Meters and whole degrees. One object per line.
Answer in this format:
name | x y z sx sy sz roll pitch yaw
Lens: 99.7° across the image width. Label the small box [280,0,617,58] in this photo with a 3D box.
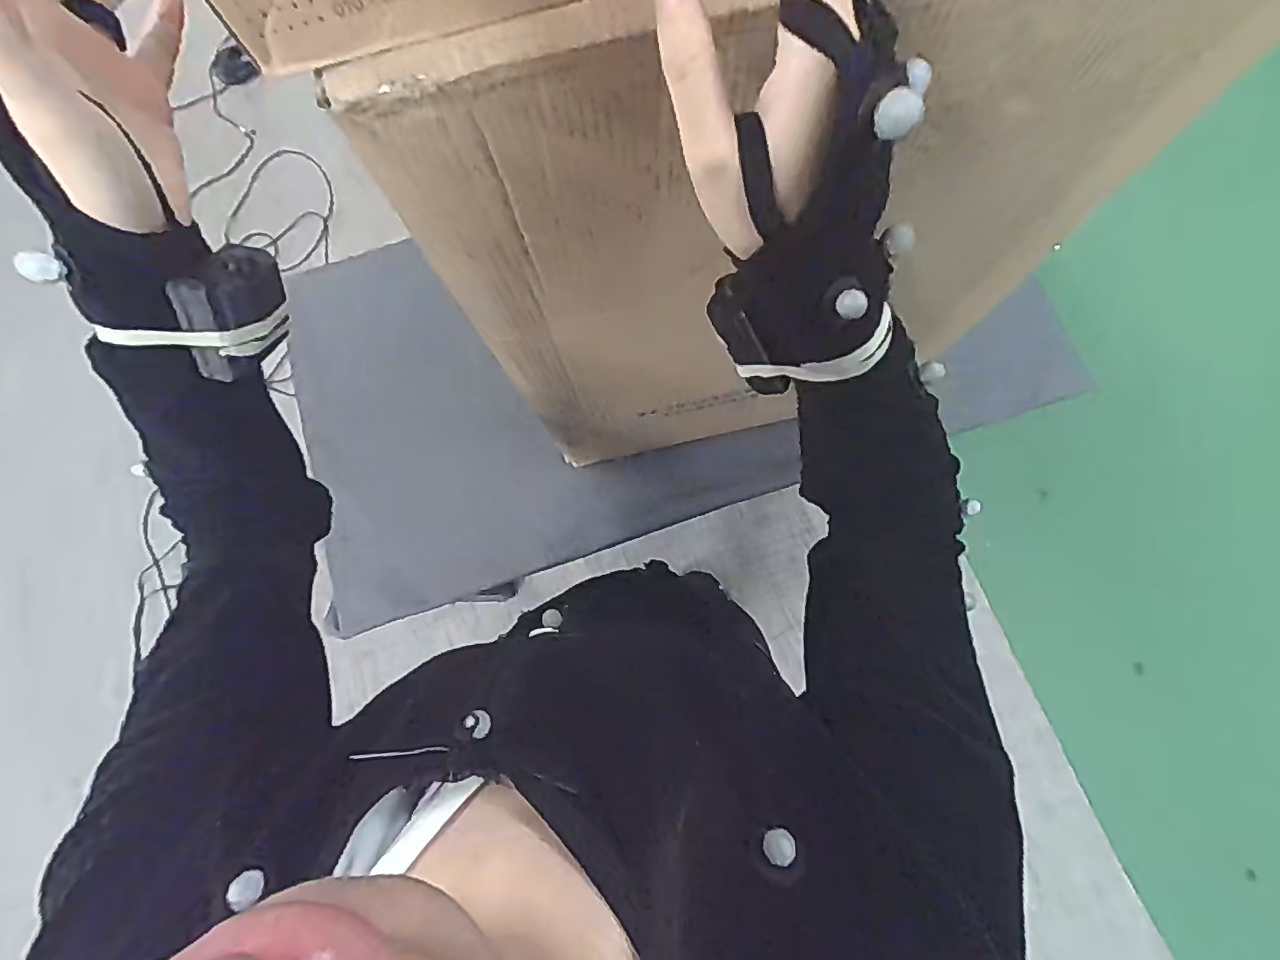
small box | -0.093 -0.298 0.178 0.168 0.176 0.179 -15 80 -2
